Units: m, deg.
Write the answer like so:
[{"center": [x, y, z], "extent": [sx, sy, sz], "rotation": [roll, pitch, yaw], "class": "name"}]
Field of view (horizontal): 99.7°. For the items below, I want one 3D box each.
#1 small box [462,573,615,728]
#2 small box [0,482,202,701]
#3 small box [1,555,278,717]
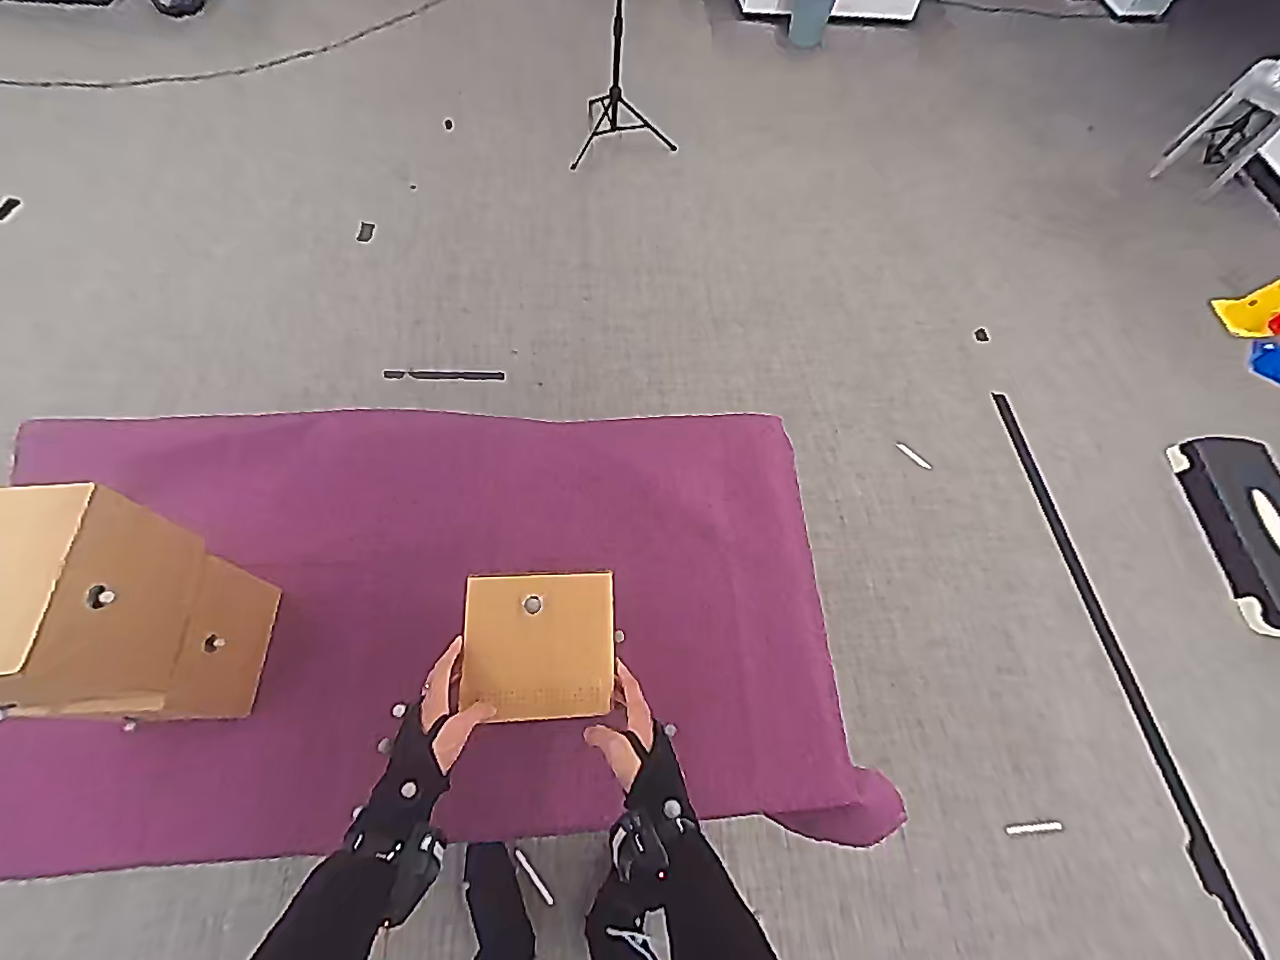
[{"center": [-0.122, 0.219, 0.701], "extent": [0.179, 0.168, 0.176], "rotation": [-1, 70, -6], "class": "small box"}, {"center": [-0.584, 0.118, 0.533], "extent": [0.168, 0.176, 0.179], "rotation": [-3, 64, -7], "class": "small box"}, {"center": [-0.593, 0.200, 0.676], "extent": [0.168, 0.176, 0.179], "rotation": [1, 64, -6], "class": "small box"}]
